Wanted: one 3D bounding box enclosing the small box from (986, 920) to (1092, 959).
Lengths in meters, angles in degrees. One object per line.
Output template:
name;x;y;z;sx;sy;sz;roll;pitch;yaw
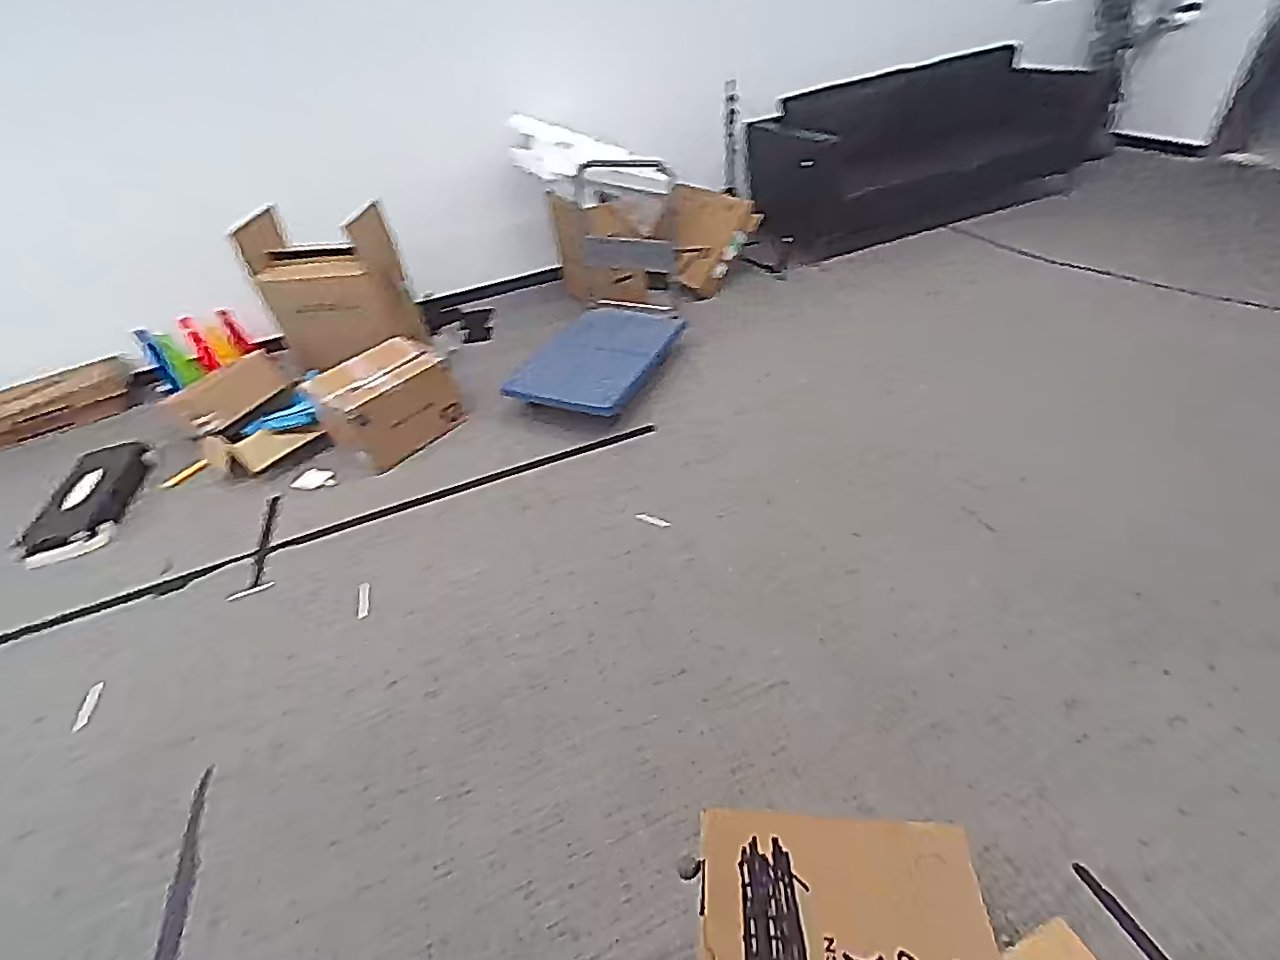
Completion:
small box;0.676;0.885;0.898;0.179;0.176;0.168;-19;43;-13
